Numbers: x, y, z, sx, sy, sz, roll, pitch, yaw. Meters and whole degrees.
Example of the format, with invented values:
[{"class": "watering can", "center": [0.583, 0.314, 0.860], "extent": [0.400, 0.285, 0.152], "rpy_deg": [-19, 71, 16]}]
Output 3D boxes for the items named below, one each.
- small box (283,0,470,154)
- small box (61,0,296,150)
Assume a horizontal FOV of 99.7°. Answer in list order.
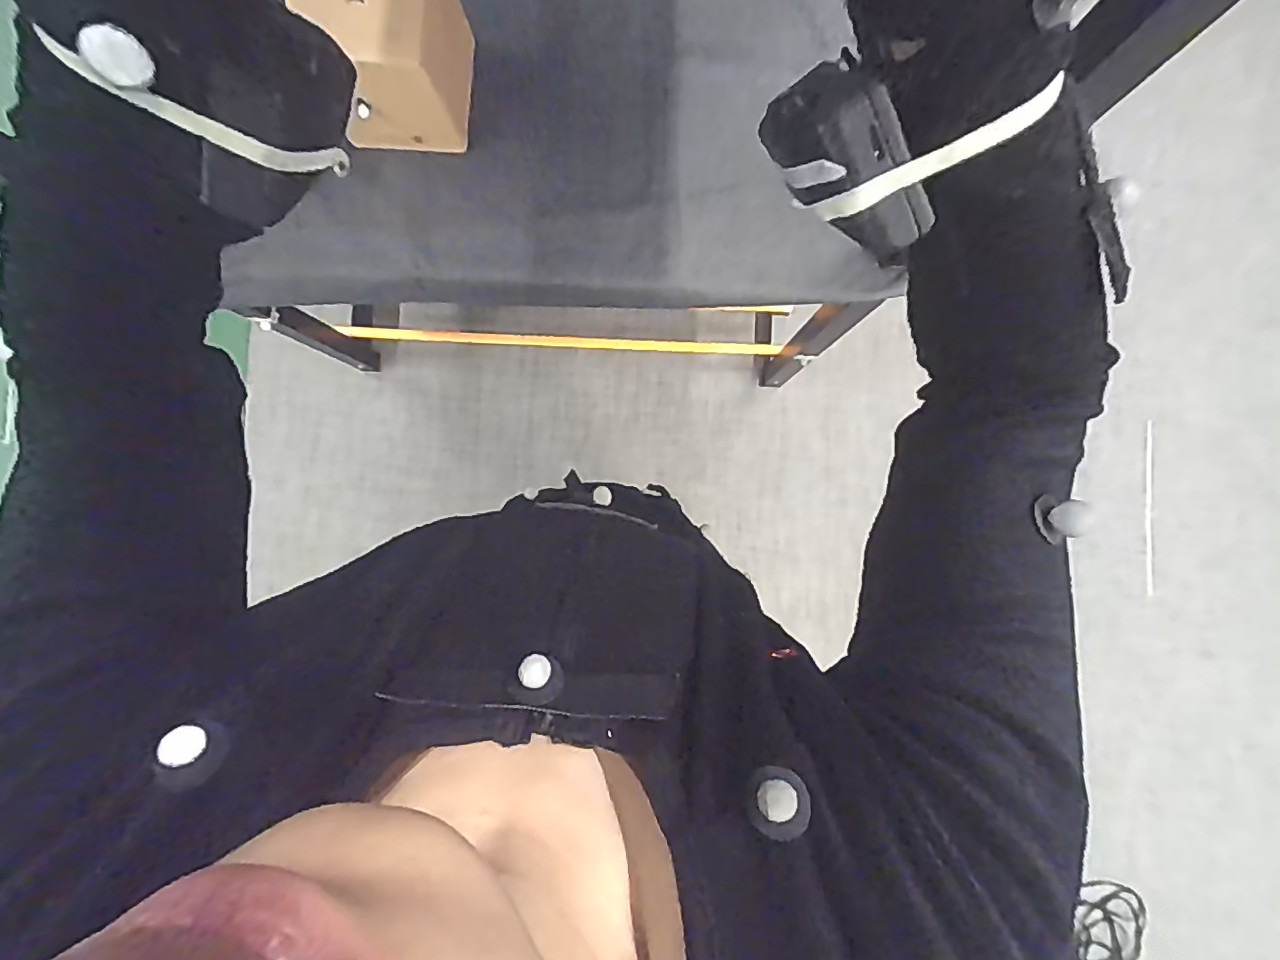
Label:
[{"class": "small box", "center": [-0.333, -0.566, 0.715], "extent": [0.168, 0.176, 0.179], "rpy_deg": [3, 87, 0]}, {"class": "small box", "center": [-0.586, -0.577, 0.712], "extent": [0.168, 0.176, 0.179], "rpy_deg": [3, 88, 0]}]
